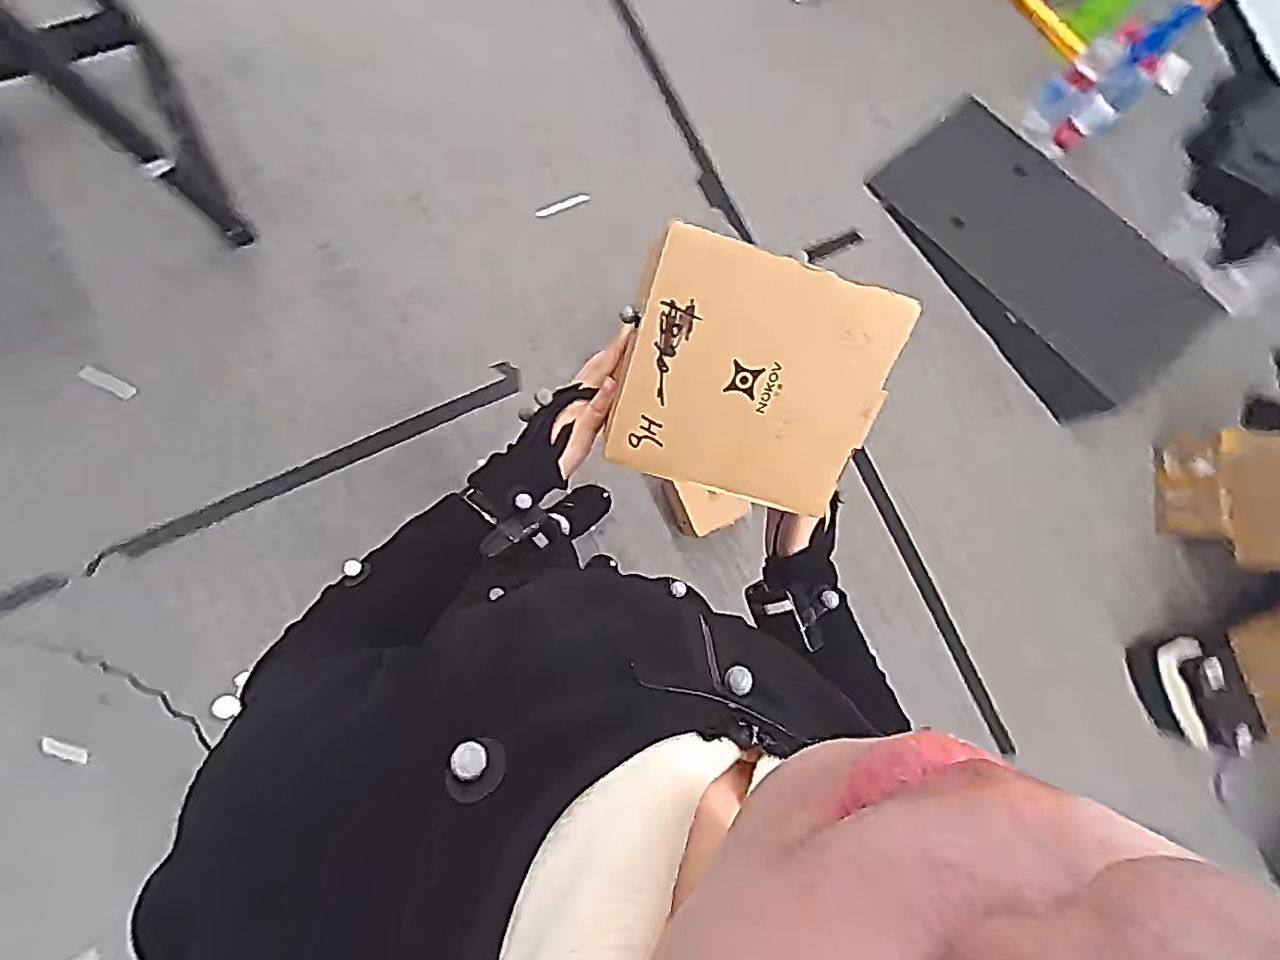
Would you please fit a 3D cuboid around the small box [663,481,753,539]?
[{"bbox_3d":[0.176,0.045,1.453,0.168,0.176,0.179,-23,88,-9],"label":"small box"}]

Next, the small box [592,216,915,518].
[{"bbox_3d":[0.067,-0.094,0.432,0.179,0.176,0.168,14,110,-9],"label":"small box"}]
